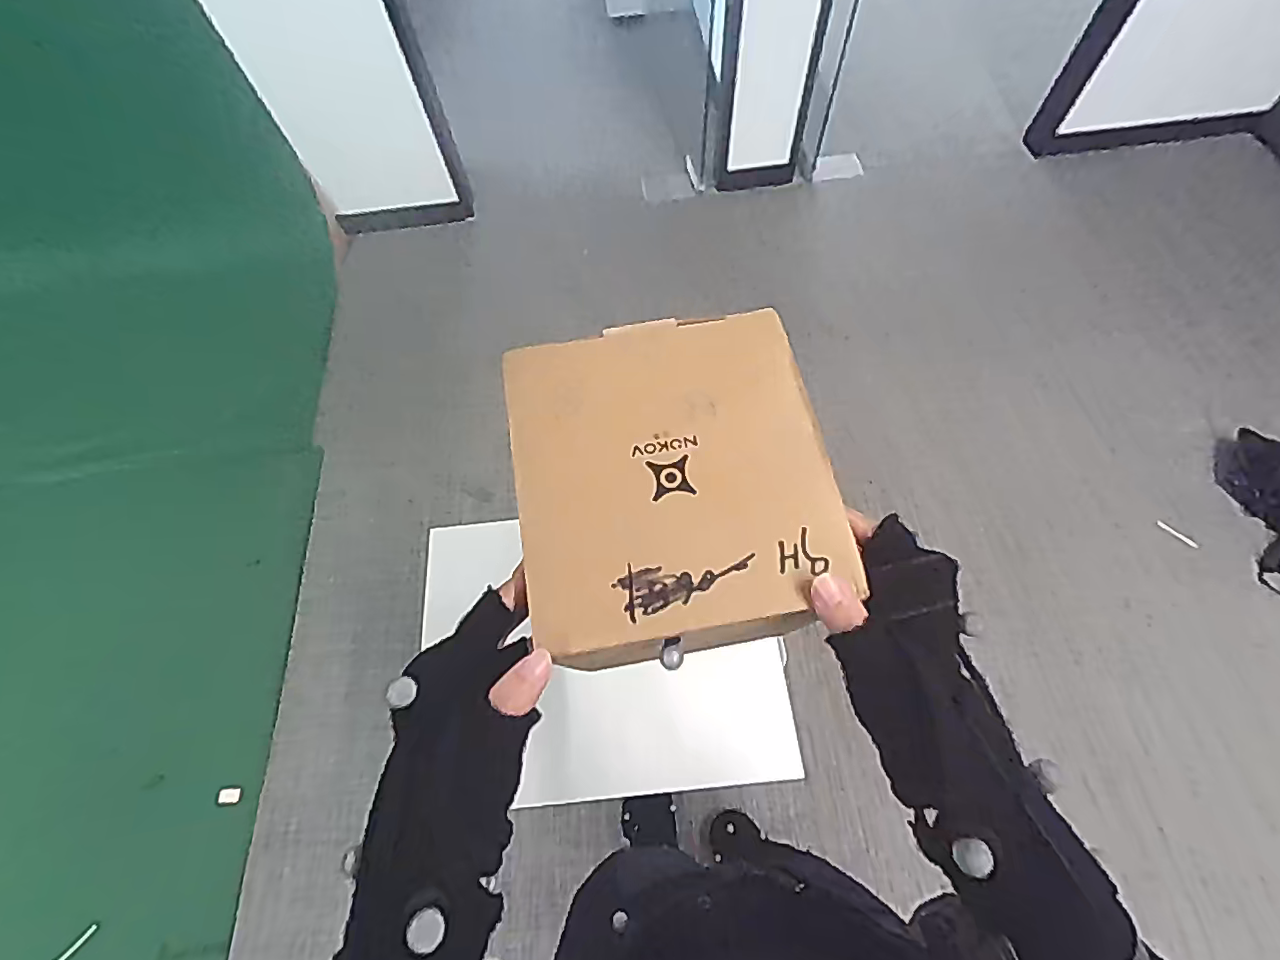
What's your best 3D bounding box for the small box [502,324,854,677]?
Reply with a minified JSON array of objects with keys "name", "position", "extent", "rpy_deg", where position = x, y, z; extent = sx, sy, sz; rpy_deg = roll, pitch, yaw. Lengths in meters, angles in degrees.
[{"name":"small box","position":[0.013,0.026,0.366],"extent":[0.168,0.176,0.179],"rpy_deg":[-10,68,-2]}]
